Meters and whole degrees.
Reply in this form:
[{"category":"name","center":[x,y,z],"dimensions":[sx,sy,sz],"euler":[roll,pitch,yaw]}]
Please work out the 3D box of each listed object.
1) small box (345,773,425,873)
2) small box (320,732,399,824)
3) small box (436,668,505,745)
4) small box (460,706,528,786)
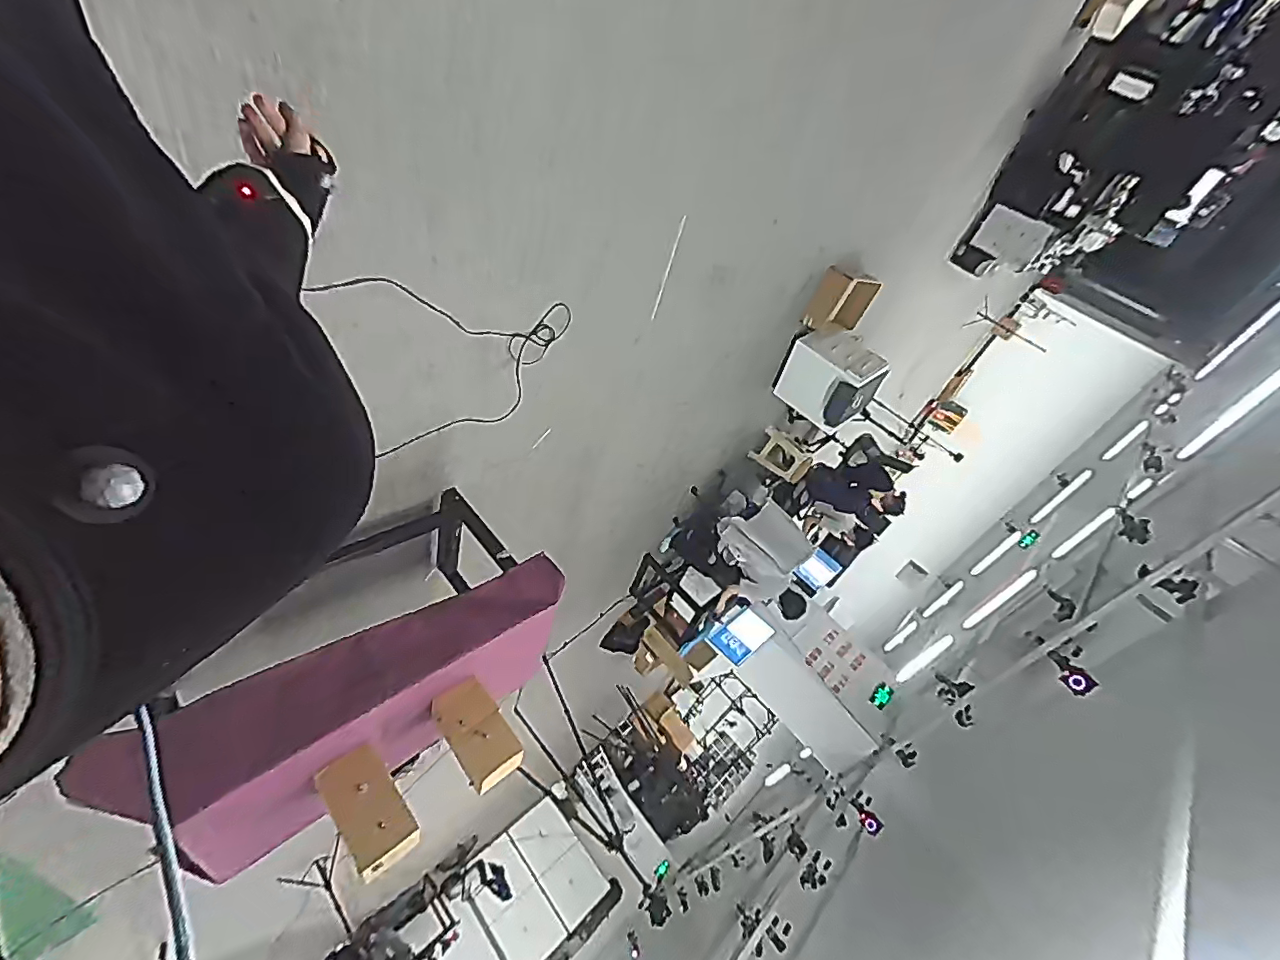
[{"category":"small box","center":[-0.789,1.054,1.670],"dimensions":[0.179,0.176,0.168],"euler":[-26,149,-40]},{"category":"small box","center":[-0.897,0.948,1.734],"dimensions":[0.179,0.176,0.168],"euler":[-23,148,-40]},{"category":"small box","center":[-0.625,0.826,1.988],"dimensions":[0.179,0.176,0.168],"euler":[-25,149,-38]},{"category":"small box","center":[-0.523,0.938,1.921],"dimensions":[0.168,0.176,0.179],"euler":[-25,150,-38]}]
